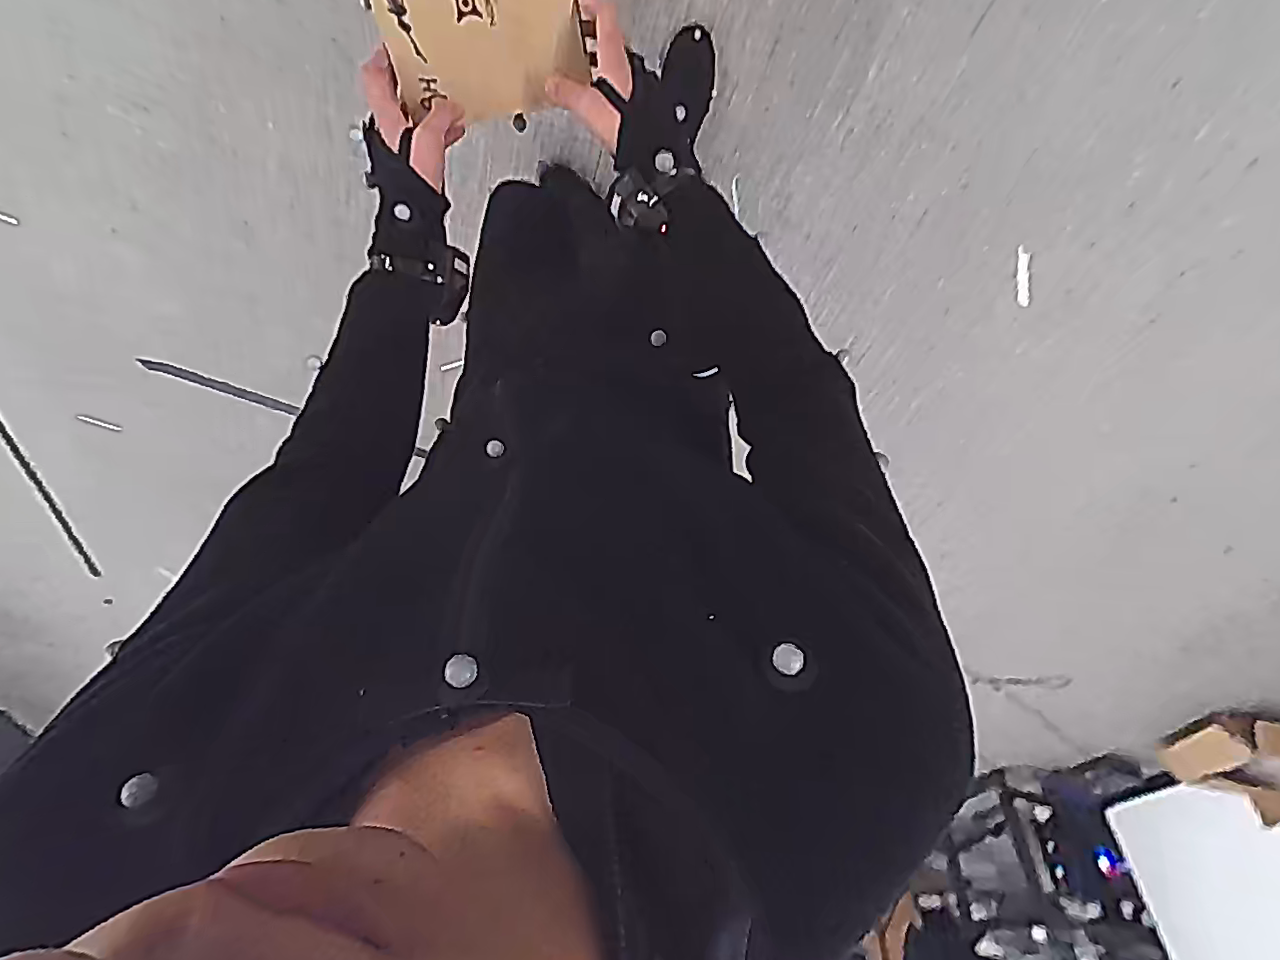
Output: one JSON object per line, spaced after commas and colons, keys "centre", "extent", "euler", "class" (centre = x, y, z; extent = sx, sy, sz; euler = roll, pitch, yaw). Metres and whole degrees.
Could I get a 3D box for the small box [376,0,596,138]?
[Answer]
{"centre": [-0.148, -0.458, 0.540], "extent": [0.179, 0.176, 0.168], "euler": [-11, 126, 1], "class": "small box"}
